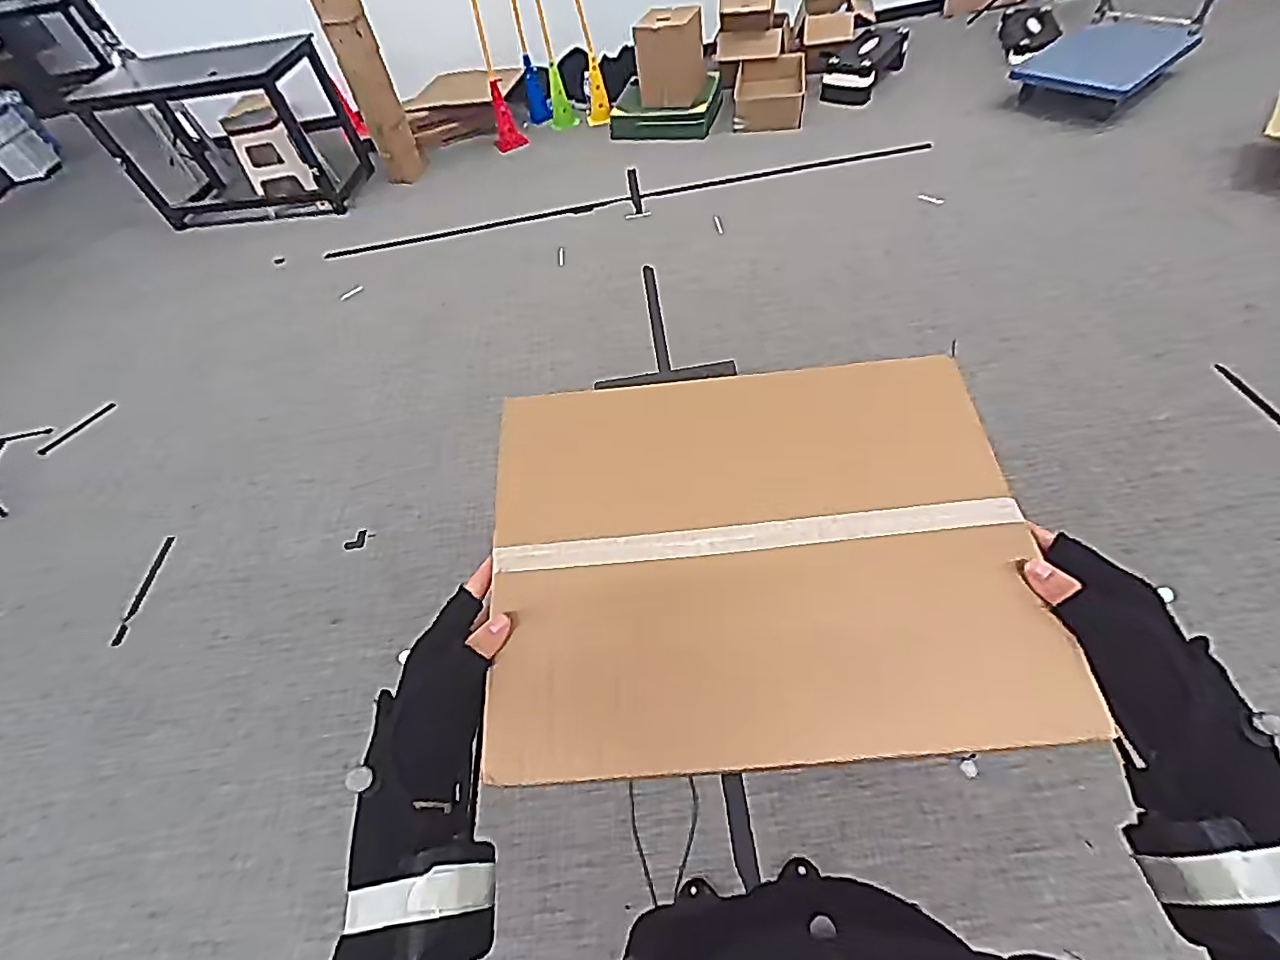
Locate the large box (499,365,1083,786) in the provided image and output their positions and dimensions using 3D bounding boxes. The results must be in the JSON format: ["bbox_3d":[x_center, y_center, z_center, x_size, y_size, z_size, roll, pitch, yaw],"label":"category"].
[{"bbox_3d":[0.101,0.118,0.563,0.408,0.320,0.320,-6,62,2],"label":"large box"}]
